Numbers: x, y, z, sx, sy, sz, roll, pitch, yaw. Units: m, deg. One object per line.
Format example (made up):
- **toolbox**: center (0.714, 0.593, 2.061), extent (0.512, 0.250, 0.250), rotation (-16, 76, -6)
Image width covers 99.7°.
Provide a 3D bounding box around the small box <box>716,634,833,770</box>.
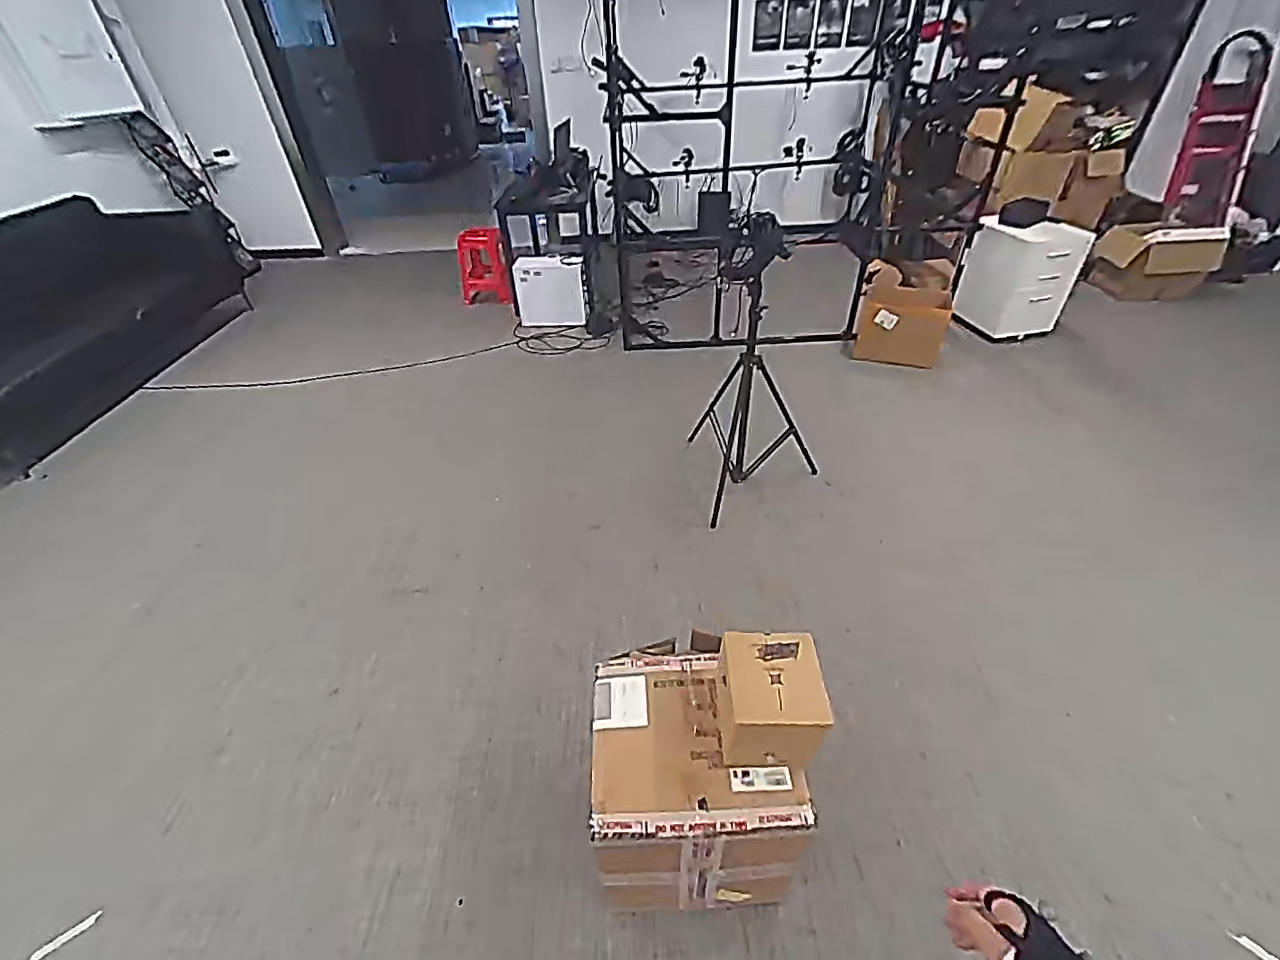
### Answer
- **small box**: center (0.234, 0.405, 0.992), extent (0.168, 0.176, 0.179), rotation (1, 42, 0)
